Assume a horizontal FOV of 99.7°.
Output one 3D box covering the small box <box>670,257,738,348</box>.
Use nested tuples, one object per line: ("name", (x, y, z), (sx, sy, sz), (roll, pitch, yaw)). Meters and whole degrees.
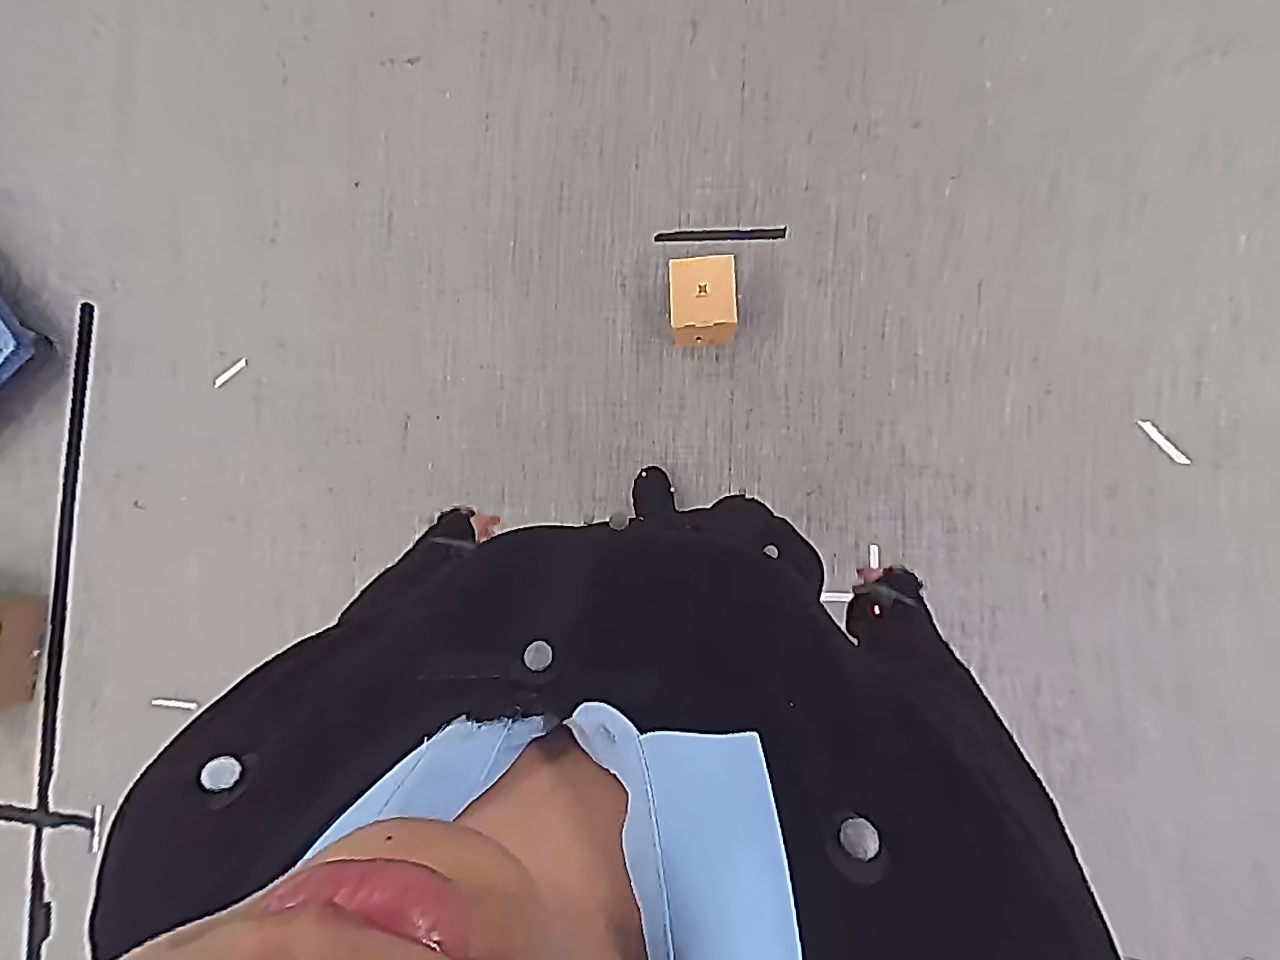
("small box", (0.165, -0.461, 1.426), (0.168, 0.176, 0.179), (-3, 87, 6))
